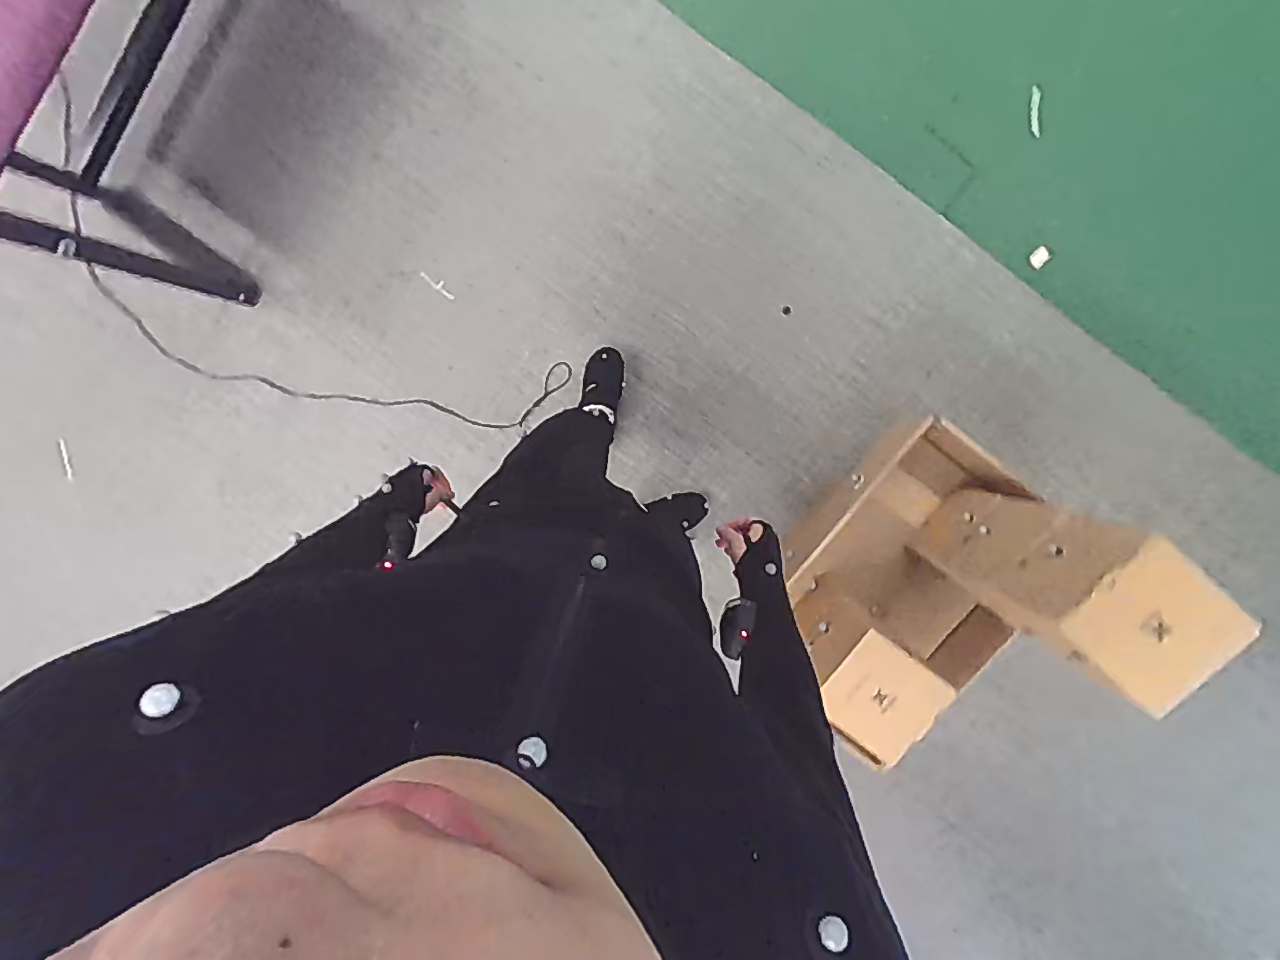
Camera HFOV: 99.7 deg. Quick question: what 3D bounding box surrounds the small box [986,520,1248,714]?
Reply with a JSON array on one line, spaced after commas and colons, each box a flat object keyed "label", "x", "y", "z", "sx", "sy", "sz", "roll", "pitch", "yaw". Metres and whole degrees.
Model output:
[{"label": "small box", "x": 0.645, "y": 0.177, "z": 0.758, "sx": 0.179, "sy": 0.176, "sz": 0.168, "roll": 44, "pitch": 97, "yaw": 0}]

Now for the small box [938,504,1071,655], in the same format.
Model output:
[{"label": "small box", "x": 0.659, "y": 0.158, "z": 0.918, "sx": 0.179, "sy": 0.176, "sz": 0.168, "roll": 42, "pitch": 96, "yaw": 0}]

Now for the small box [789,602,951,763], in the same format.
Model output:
[{"label": "small box", "x": 0.392, "y": 0.344, "z": 0.956, "sx": 0.179, "sy": 0.176, "sz": 0.168, "roll": 37, "pitch": 97, "yaw": 0}]

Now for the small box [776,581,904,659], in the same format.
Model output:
[{"label": "small box", "x": 0.405, "y": 0.329, "z": 1.118, "sx": 0.179, "sy": 0.176, "sz": 0.168, "roll": 38, "pitch": 97, "yaw": -1}]

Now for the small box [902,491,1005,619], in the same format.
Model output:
[{"label": "small box", "x": 0.671, "y": 0.139, "z": 1.080, "sx": 0.179, "sy": 0.176, "sz": 0.168, "roll": 41, "pitch": 98, "yaw": -1}]
